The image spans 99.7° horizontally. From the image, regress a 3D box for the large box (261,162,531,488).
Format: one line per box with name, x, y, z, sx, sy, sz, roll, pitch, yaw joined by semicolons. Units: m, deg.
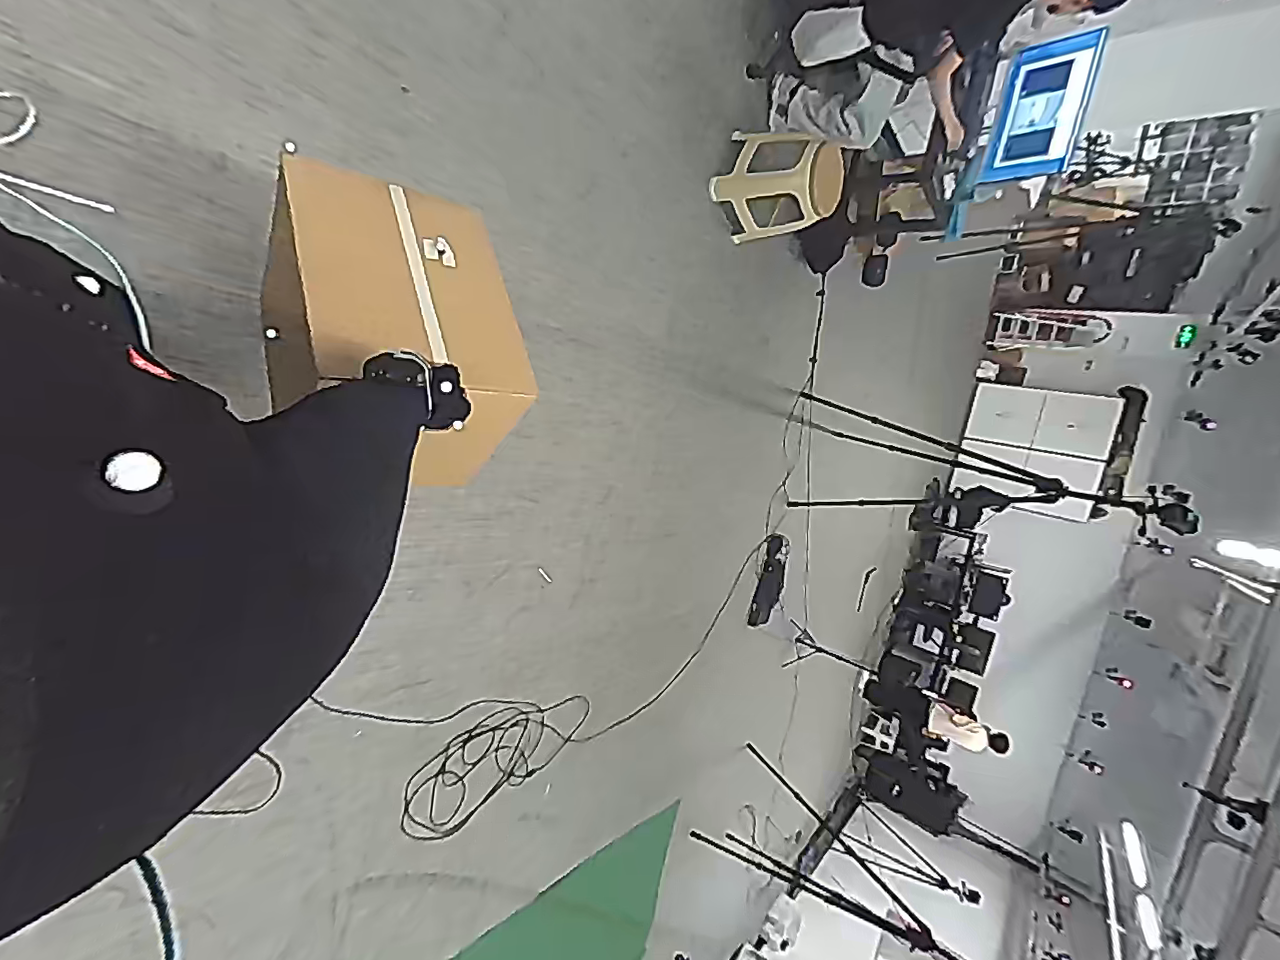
large box;-0.439;-0.235;0.937;0.320;0.320;0.408;-2;63;-42
